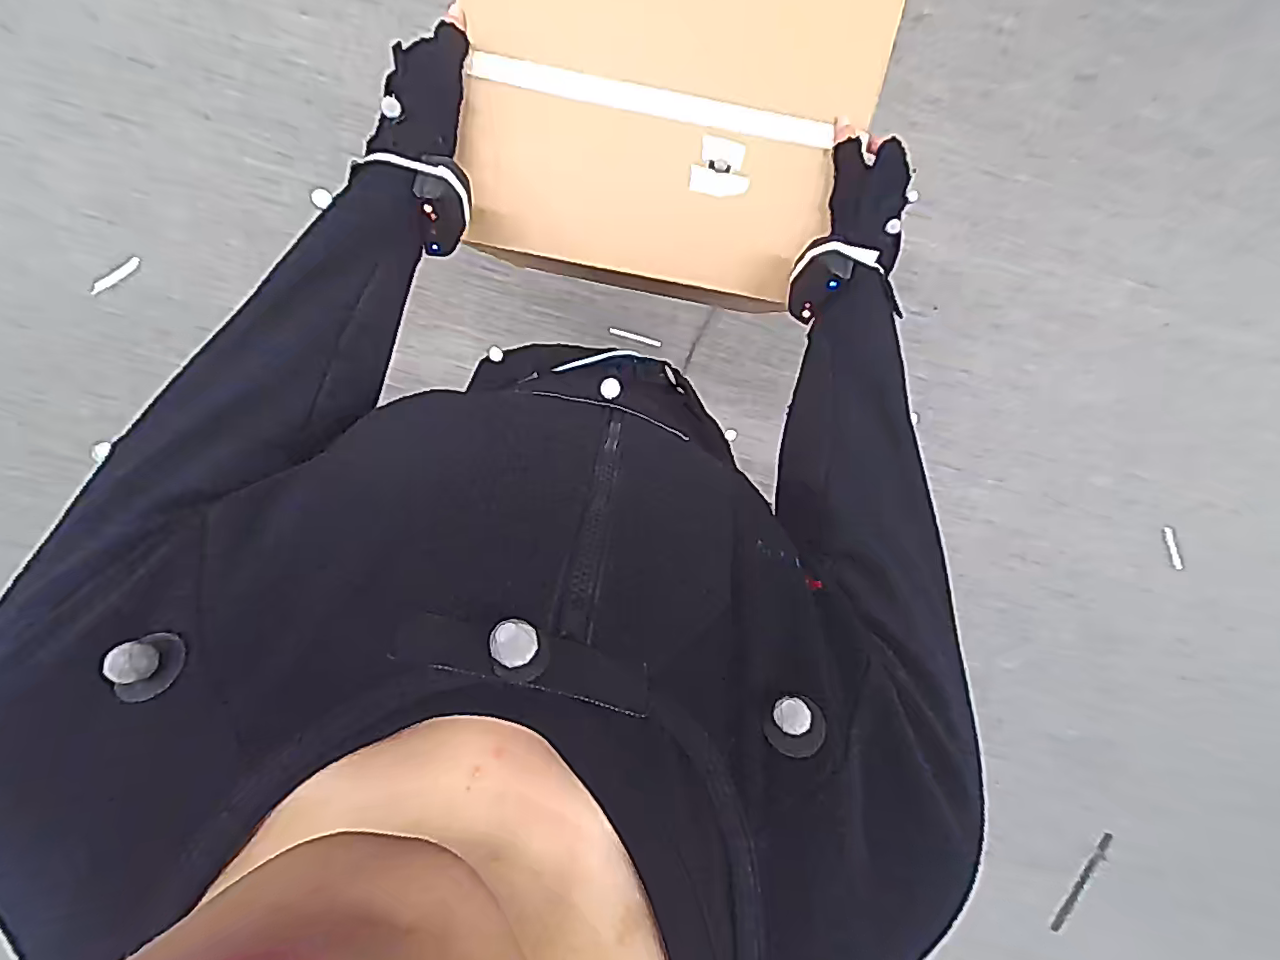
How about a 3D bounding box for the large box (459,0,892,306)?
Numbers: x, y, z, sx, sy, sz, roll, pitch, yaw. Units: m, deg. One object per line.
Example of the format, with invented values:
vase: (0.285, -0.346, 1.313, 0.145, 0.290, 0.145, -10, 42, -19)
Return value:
large box: (0.022, -0.414, 0.683, 0.408, 0.320, 0.320, 10, 107, -4)
